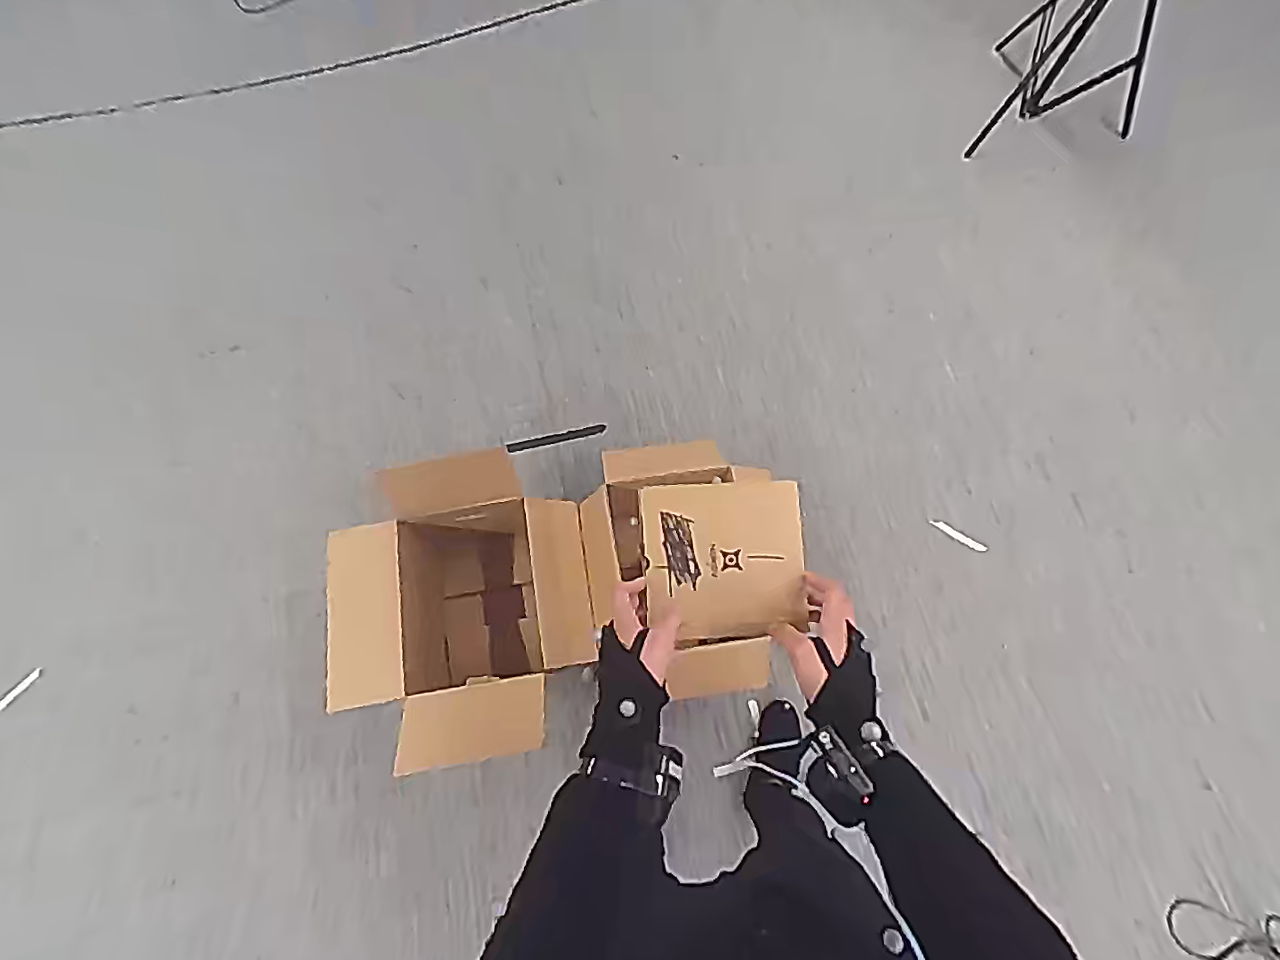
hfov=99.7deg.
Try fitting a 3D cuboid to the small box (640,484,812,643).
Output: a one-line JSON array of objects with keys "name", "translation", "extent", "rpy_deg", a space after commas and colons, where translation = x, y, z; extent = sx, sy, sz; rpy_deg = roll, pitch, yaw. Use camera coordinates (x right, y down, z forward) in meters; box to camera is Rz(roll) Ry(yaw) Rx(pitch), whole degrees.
[{"name": "small box", "translation": [0.091, 0.097, 0.650], "extent": [0.179, 0.176, 0.168], "rpy_deg": [-2, 84, -1]}]
